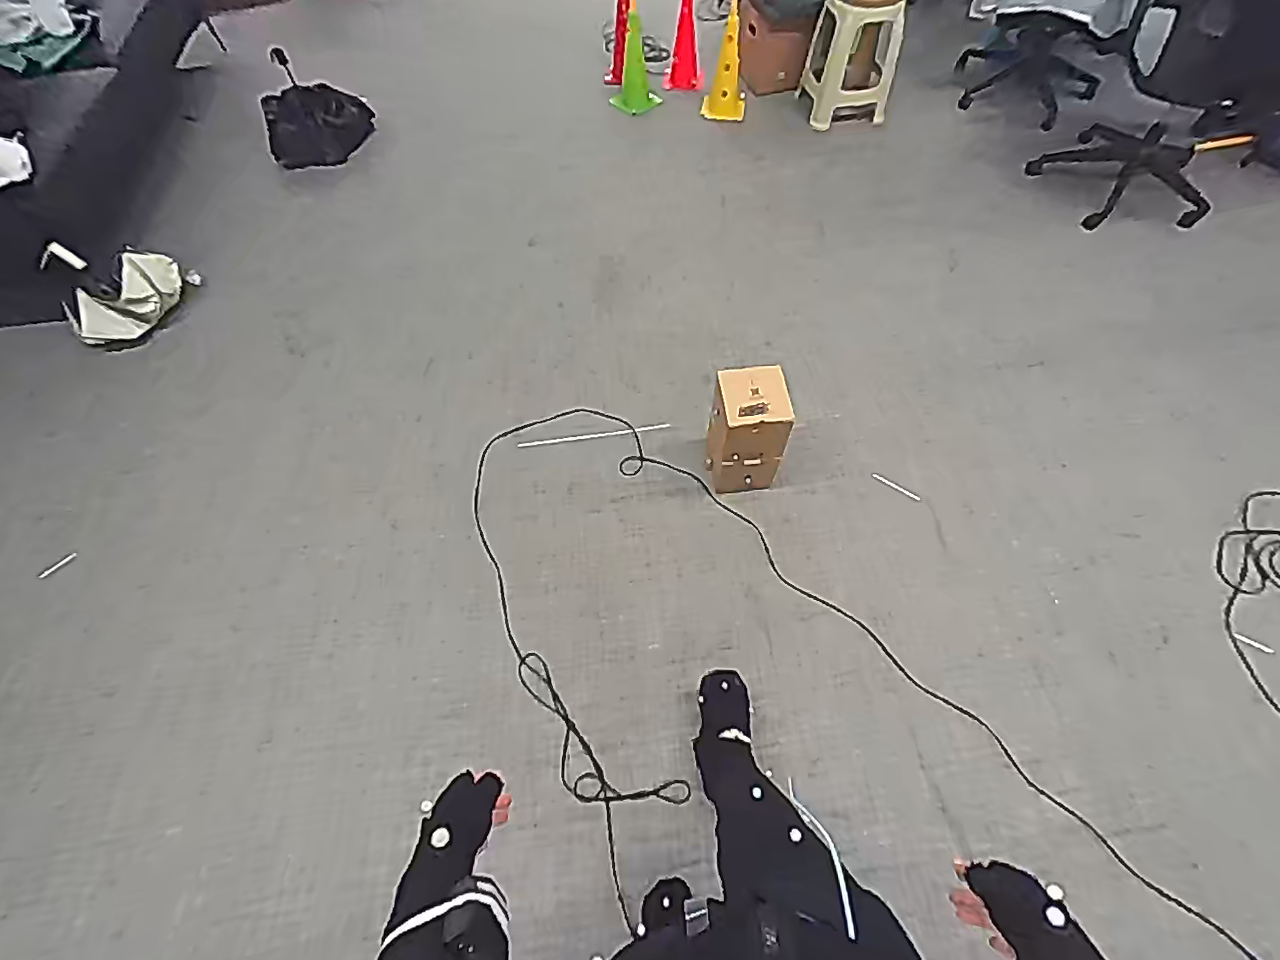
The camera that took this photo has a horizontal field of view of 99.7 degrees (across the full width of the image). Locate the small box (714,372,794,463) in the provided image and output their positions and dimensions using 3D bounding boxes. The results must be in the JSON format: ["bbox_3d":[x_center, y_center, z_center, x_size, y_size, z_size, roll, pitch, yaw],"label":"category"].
[{"bbox_3d":[0.289,-0.155,1.409,0.168,0.176,0.179,-6,60,-1],"label":"small box"}]

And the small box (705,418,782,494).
[{"bbox_3d":[0.291,-0.070,1.553,0.168,0.176,0.179,-7,63,-5],"label":"small box"}]
